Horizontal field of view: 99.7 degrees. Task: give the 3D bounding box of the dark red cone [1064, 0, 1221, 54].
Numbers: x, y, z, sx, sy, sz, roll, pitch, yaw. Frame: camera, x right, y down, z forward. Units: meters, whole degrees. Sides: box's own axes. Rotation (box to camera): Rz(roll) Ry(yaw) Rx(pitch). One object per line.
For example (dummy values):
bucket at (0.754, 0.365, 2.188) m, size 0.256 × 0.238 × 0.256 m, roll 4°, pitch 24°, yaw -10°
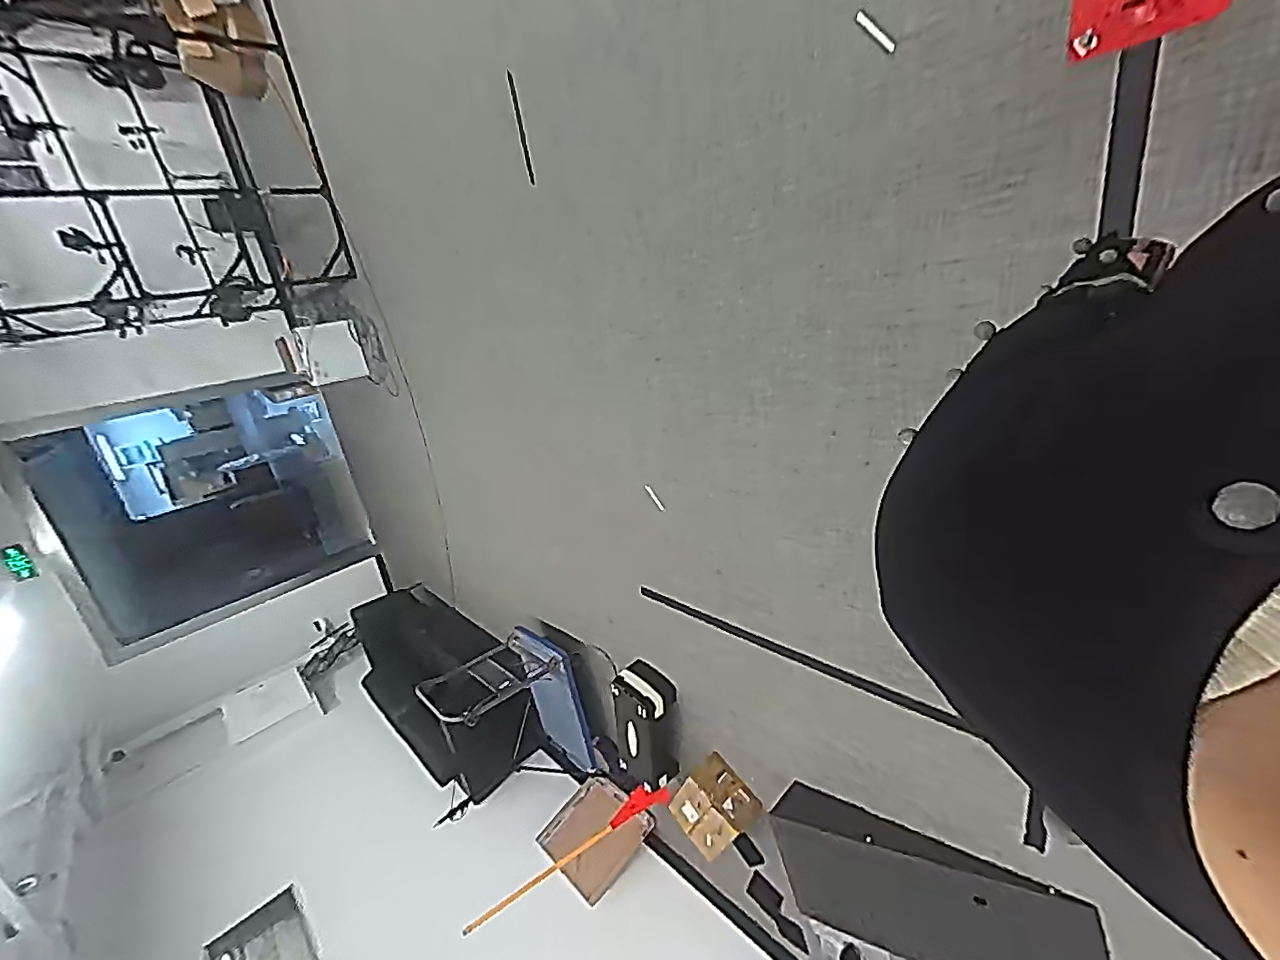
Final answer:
dark red cone at (0.670, -0.754, 0.735) m, size 0.201 × 0.394 × 0.202 m, roll 10°, pitch 117°, yaw 46°
